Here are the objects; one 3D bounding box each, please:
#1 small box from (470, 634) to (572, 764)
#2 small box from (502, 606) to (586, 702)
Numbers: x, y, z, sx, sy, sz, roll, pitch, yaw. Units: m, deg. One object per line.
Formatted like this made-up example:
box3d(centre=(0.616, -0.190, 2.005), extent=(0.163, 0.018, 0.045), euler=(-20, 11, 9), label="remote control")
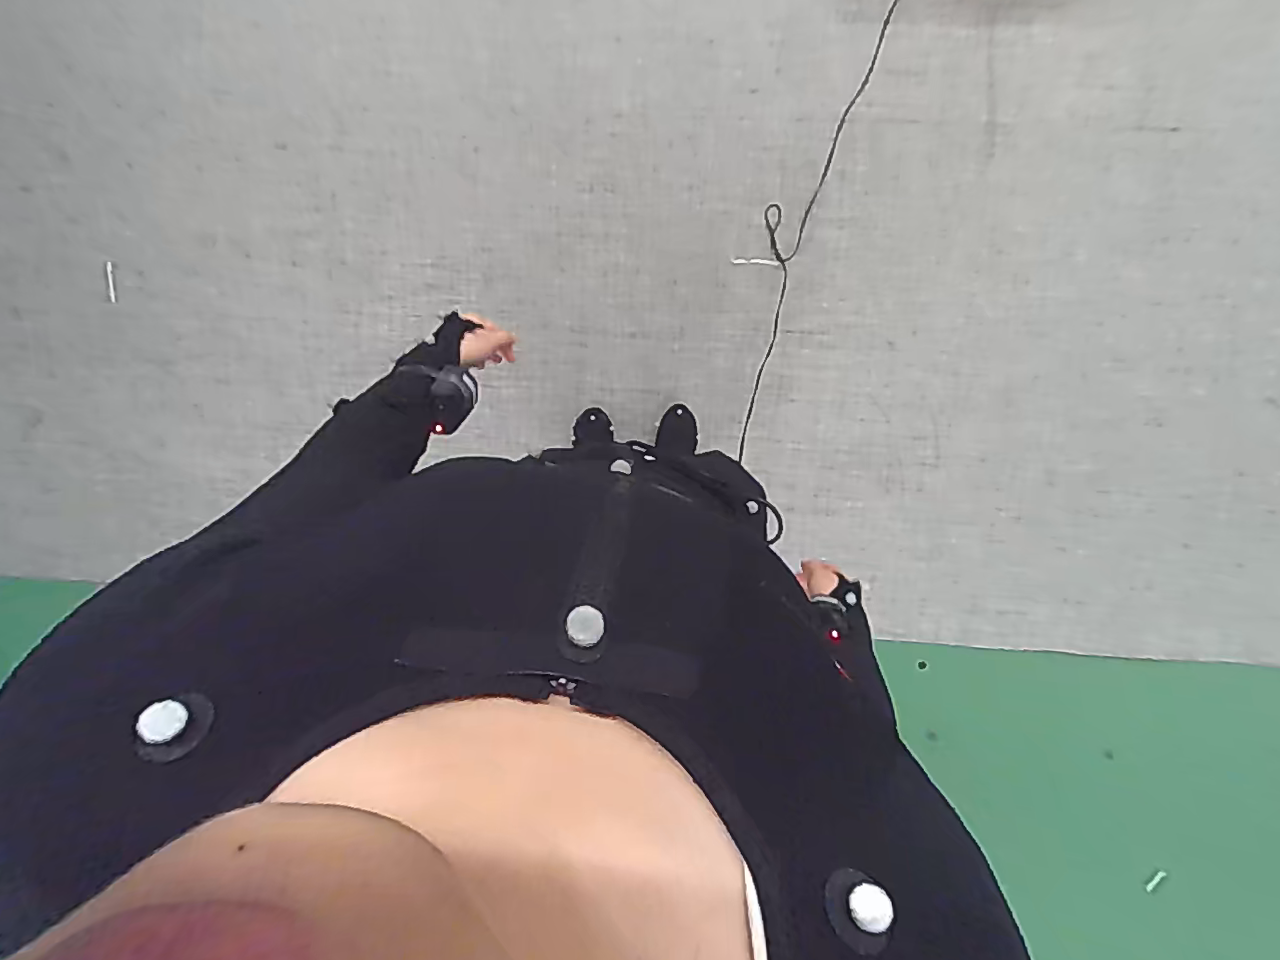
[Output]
box3d(centre=(-0.233, 0.435, 1.091), extent=(0.168, 0.176, 0.179), euler=(4, 99, 2), label="small box")
box3d(centre=(-0.224, 0.414, 1.254), extent=(0.168, 0.176, 0.179), euler=(7, 97, 2), label="small box")
